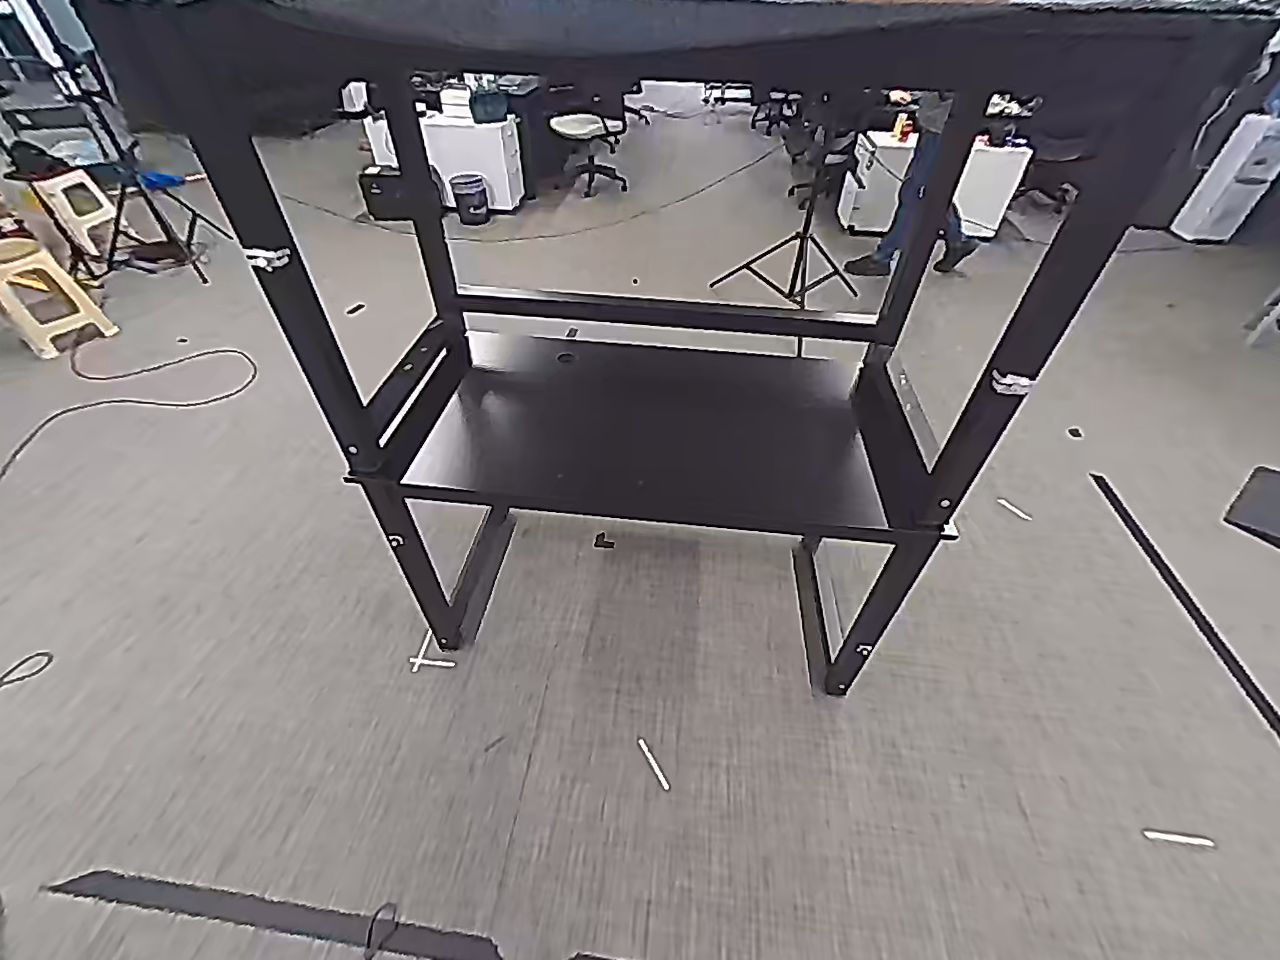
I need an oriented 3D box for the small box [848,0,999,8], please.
[{"bbox_3d":[0.305,-0.611,0.565,0.168,0.176,0.179,5,43,6],"label":"small box"}]
